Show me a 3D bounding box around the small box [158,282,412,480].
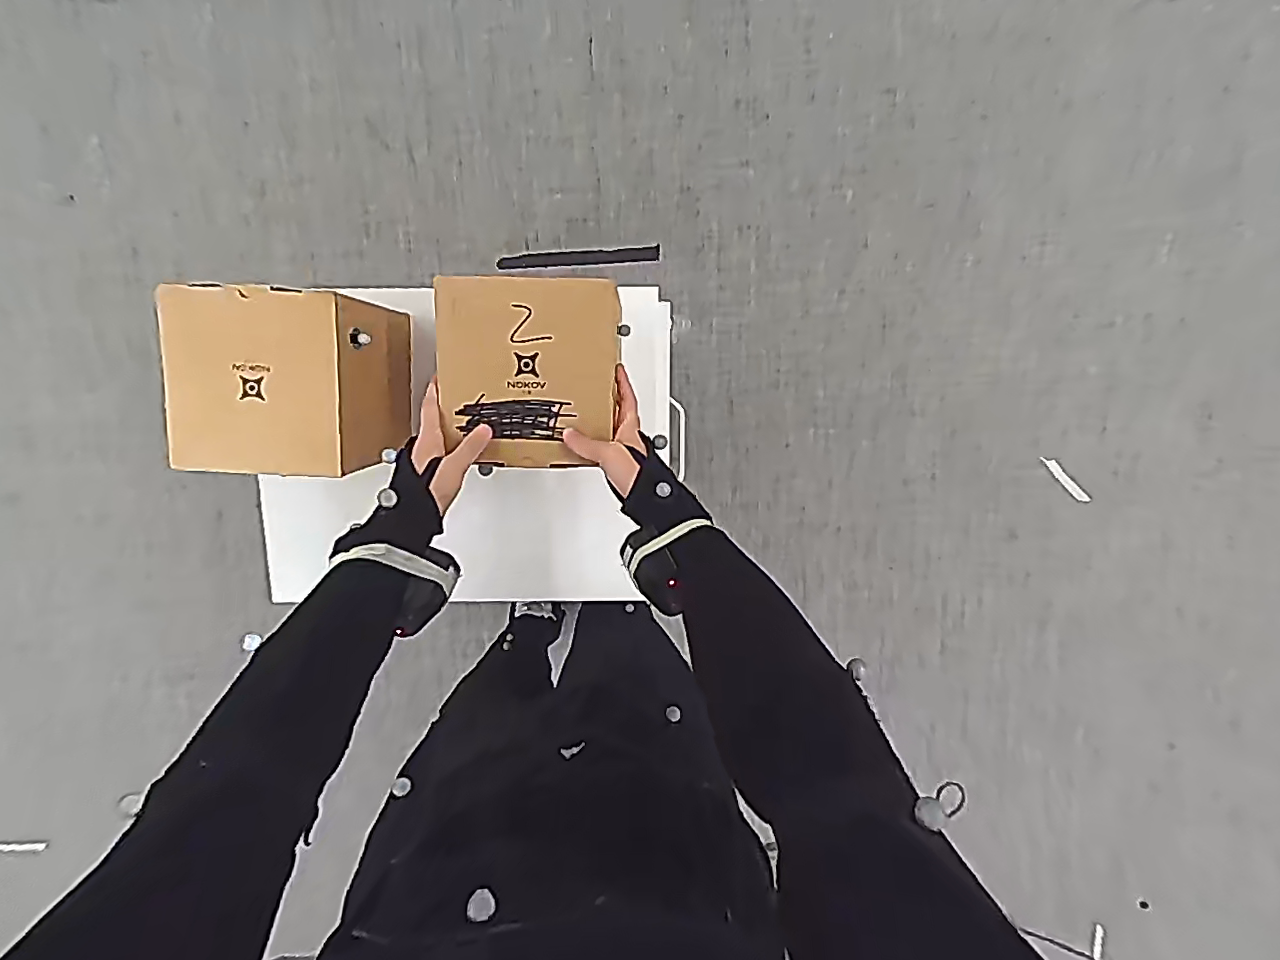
[{"bbox_3d":[-0.360,-0.103,0.583,0.168,0.176,0.179,3,99,-1],"label":"small box"}]
